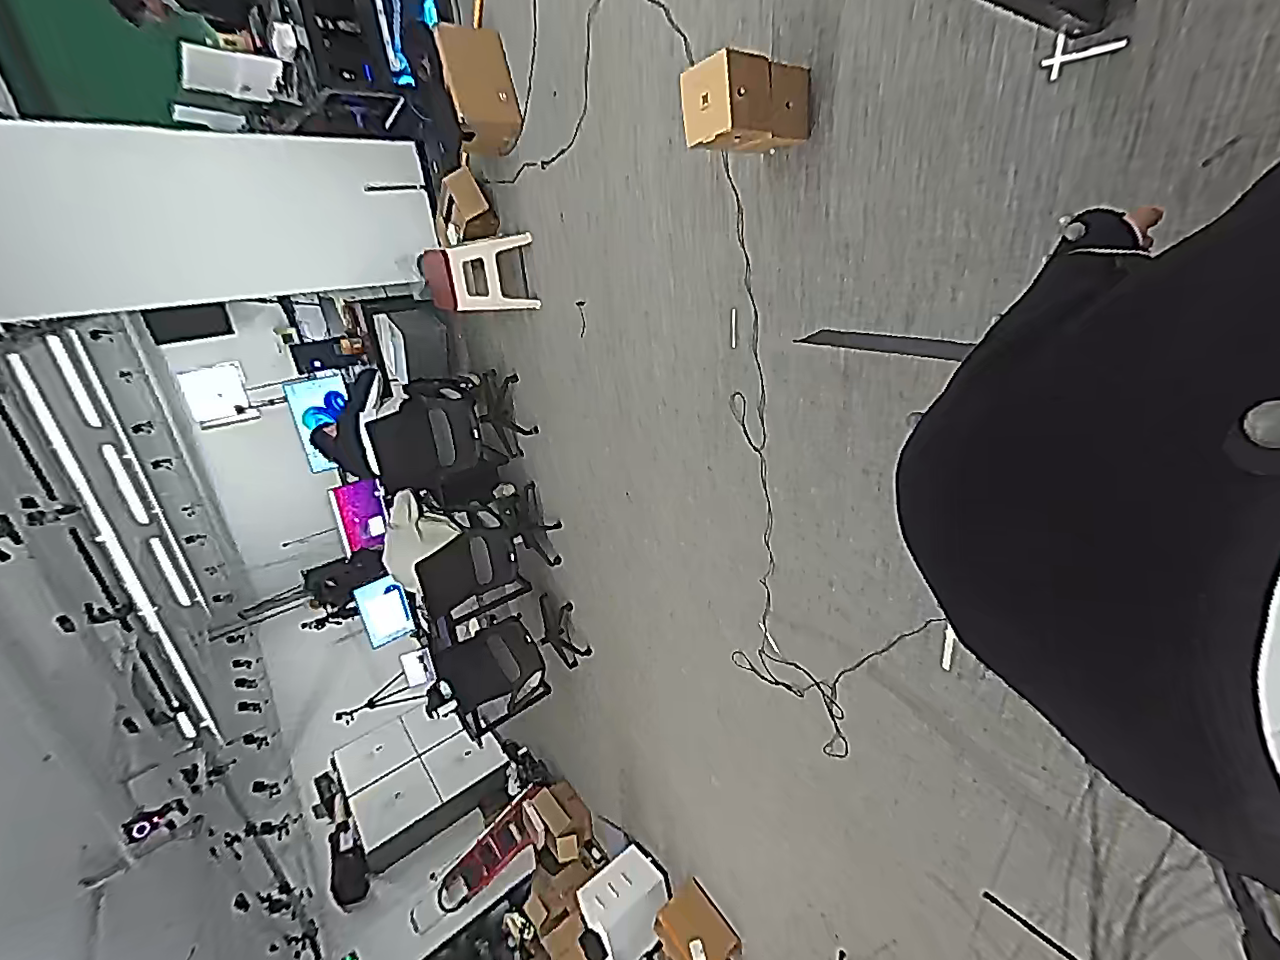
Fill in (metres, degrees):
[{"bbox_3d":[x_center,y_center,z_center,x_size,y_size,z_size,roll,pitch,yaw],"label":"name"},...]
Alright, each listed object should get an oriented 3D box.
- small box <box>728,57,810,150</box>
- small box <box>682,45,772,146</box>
[{"bbox_3d":[0.361,-1.047,1.520,0.168,0.176,0.179,19,124,49],"label":"small box"},{"bbox_3d":[0.234,-1.003,1.429,0.168,0.176,0.179,14,118,49],"label":"small box"}]
